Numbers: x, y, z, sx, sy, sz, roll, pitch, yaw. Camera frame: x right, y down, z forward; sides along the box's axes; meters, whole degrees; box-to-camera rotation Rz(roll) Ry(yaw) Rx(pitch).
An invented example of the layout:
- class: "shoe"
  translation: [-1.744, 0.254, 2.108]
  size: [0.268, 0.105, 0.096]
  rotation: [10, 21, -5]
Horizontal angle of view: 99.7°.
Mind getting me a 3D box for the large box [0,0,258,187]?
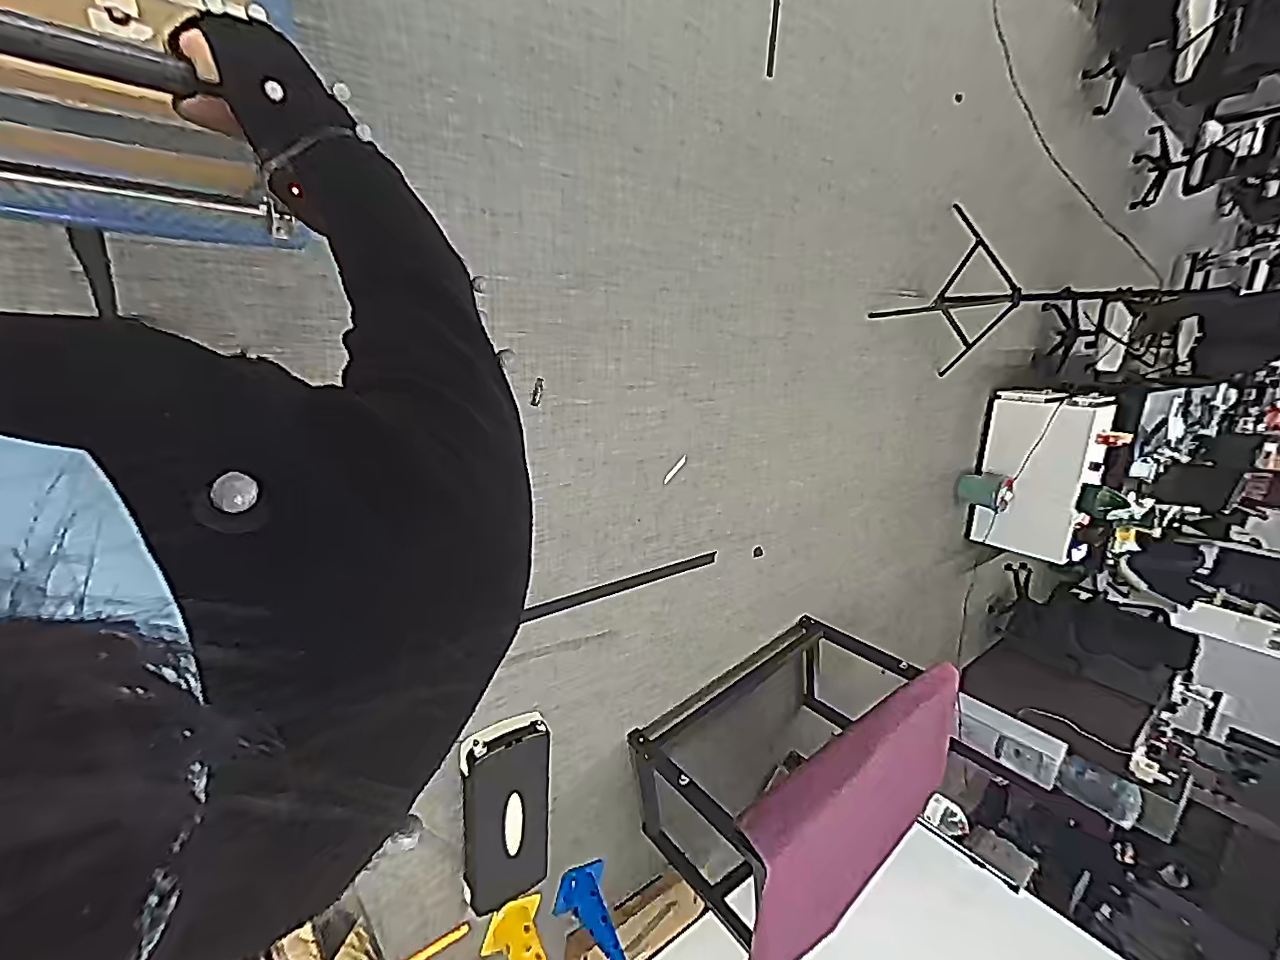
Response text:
- class: "large box"
  translation: [-0.785, -0.627, 0.723]
  size: [0.408, 0.320, 0.320]
  rotation: [-8, 108, -38]
